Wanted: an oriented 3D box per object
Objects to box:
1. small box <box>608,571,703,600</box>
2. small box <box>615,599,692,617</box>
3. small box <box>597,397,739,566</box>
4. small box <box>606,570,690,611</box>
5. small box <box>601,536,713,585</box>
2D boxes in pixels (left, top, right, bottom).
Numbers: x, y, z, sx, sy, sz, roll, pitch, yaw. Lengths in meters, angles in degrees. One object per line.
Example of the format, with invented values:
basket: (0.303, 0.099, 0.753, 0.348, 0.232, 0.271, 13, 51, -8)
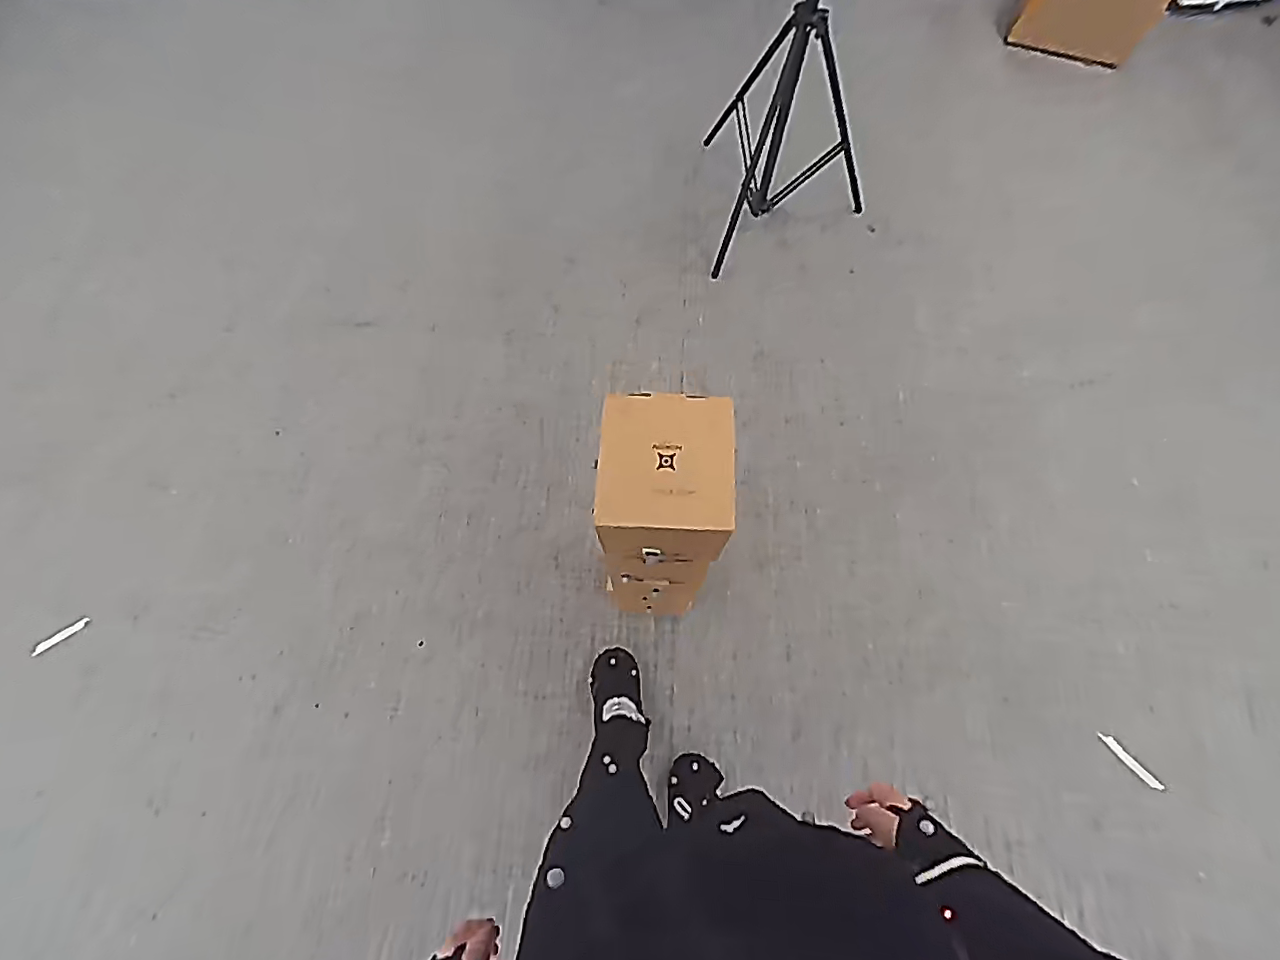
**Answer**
small box: (0.036, 0.127, 1.023, 0.168, 0.176, 0.179, 5, 70, 2)
small box: (0.034, 0.243, 1.329, 0.179, 0.176, 0.168, 3, 69, 1)
small box: (0.036, 0.009, 0.718, 0.168, 0.176, 0.179, 2, 70, 2)
small box: (0.027, 0.187, 1.175, 0.179, 0.176, 0.168, 6, 70, 2)
small box: (0.033, 0.067, 0.870, 0.168, 0.176, 0.179, 4, 68, 2)
